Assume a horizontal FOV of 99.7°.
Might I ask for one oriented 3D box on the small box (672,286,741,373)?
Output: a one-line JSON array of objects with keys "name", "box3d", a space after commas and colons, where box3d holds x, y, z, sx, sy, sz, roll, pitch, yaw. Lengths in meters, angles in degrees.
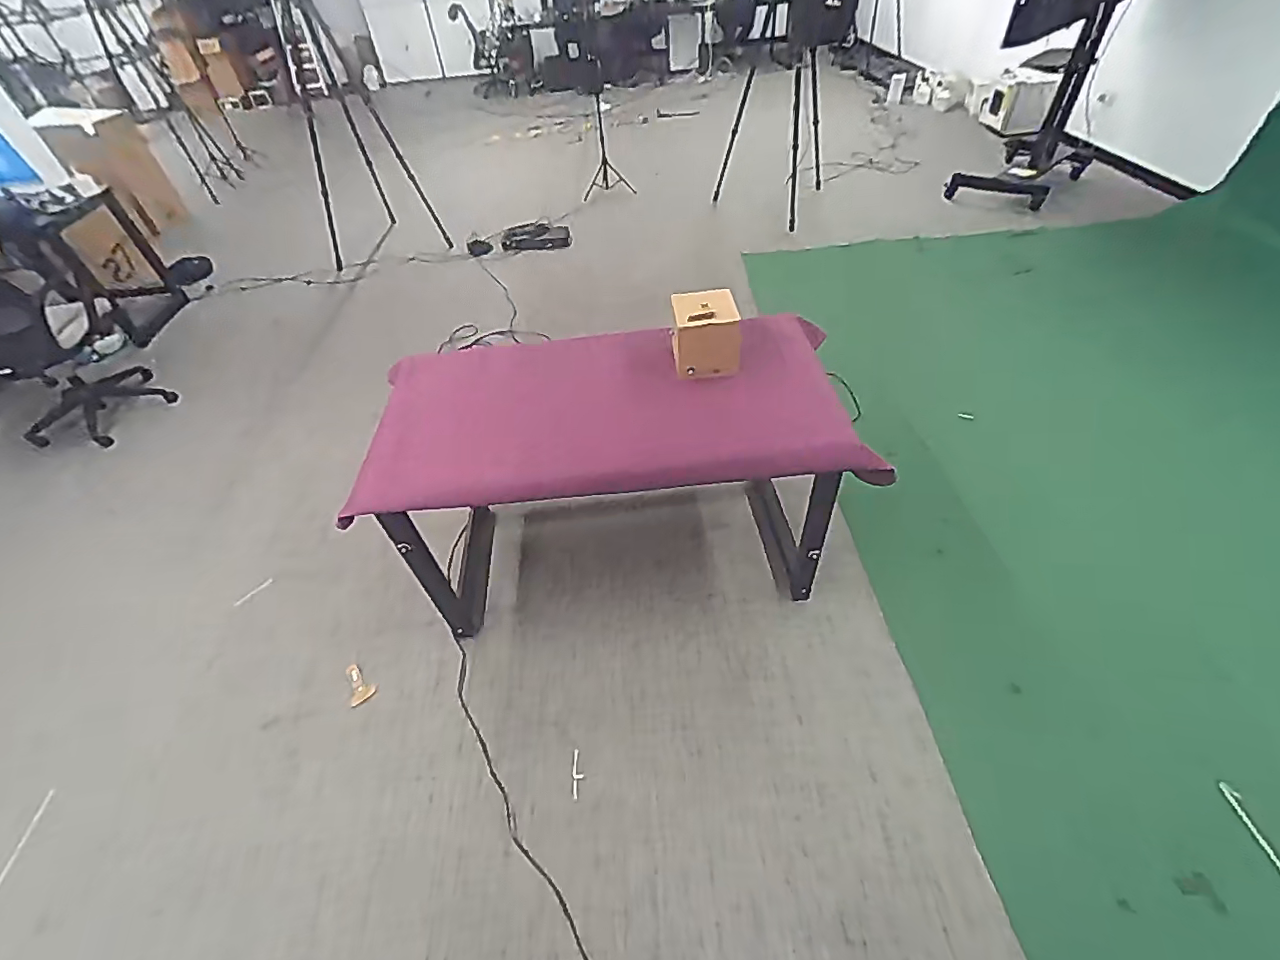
[{"name": "small box", "box3d": [0.181, -0.405, 1.481, 0.168, 0.176, 0.179, -6, 46, 1]}]
